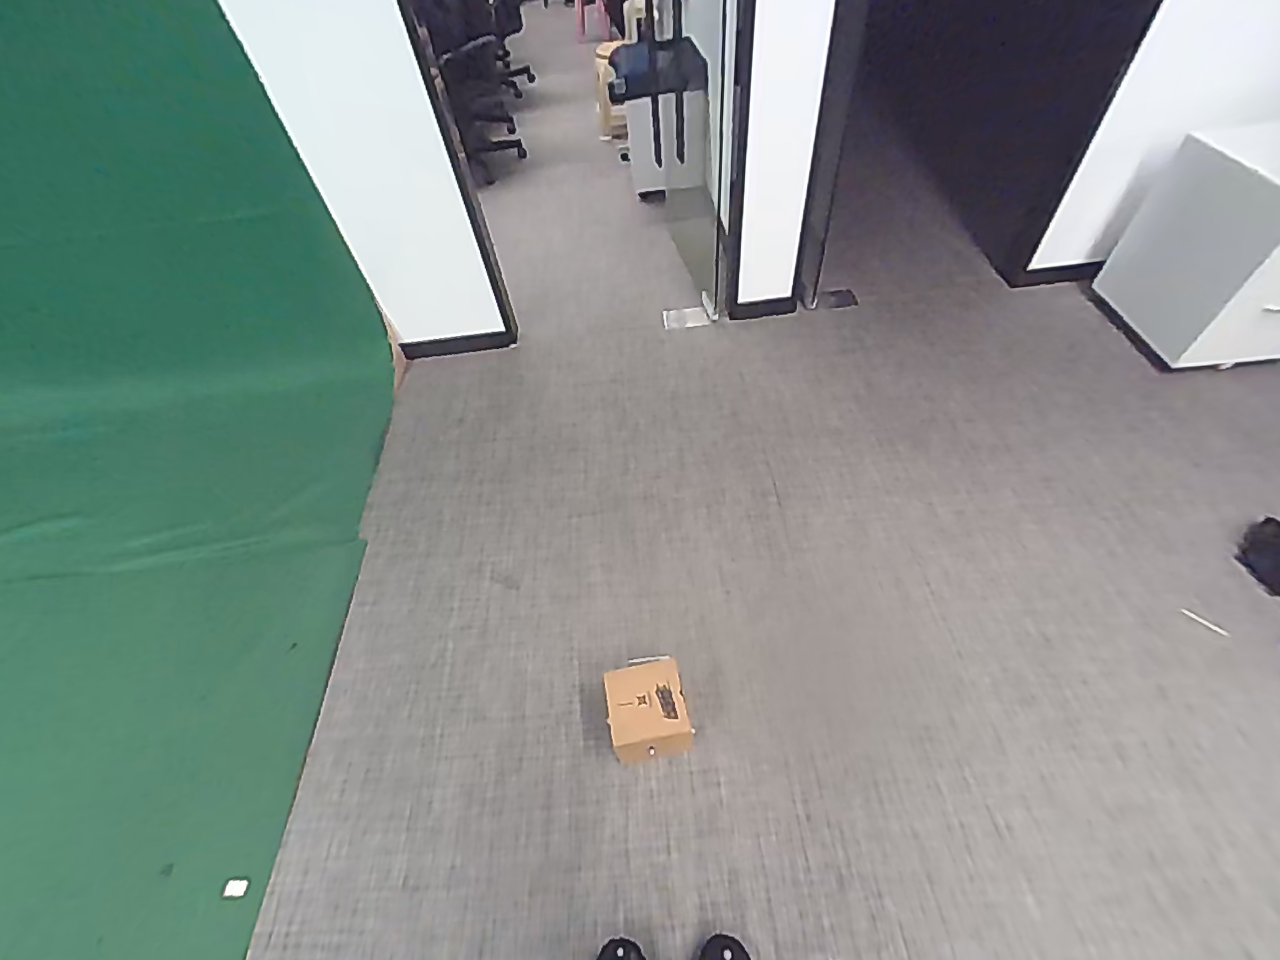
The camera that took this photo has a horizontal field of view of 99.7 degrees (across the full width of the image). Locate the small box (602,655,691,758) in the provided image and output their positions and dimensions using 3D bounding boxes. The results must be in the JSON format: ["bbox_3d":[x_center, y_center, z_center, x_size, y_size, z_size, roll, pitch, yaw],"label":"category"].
[{"bbox_3d":[0.014,0.541,1.287,0.179,0.176,0.168,-13,52,-5],"label":"small box"}]
